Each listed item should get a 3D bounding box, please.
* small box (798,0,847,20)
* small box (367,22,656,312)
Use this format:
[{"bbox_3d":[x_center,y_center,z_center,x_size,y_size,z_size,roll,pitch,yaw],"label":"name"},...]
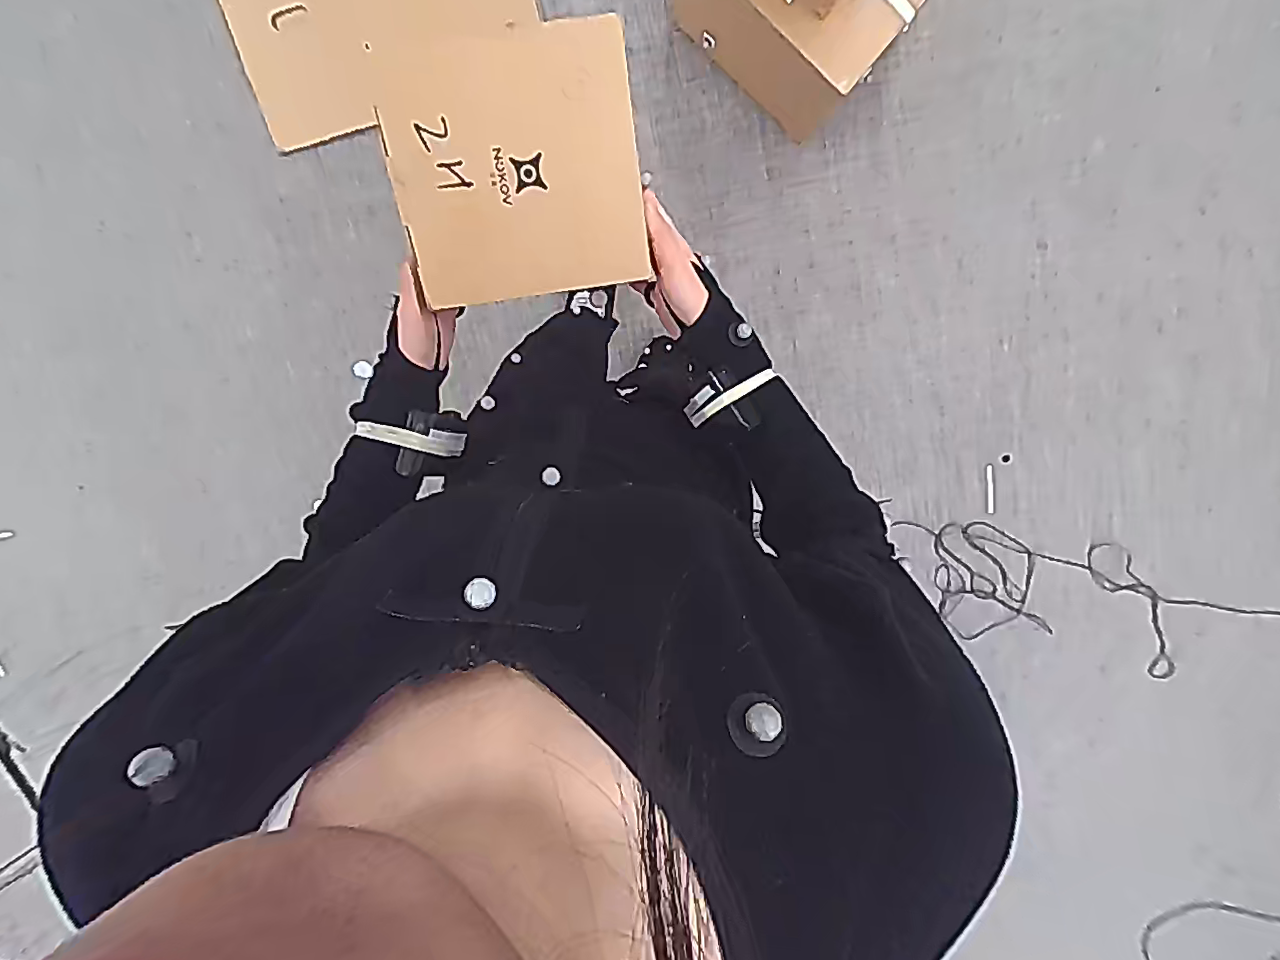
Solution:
[{"bbox_3d":[0.302,-0.874,0.832,0.179,0.176,0.168,36,105,-9],"label":"small box"},{"bbox_3d":[-0.088,-0.243,0.455,0.179,0.176,0.168,-8,111,0],"label":"small box"}]
